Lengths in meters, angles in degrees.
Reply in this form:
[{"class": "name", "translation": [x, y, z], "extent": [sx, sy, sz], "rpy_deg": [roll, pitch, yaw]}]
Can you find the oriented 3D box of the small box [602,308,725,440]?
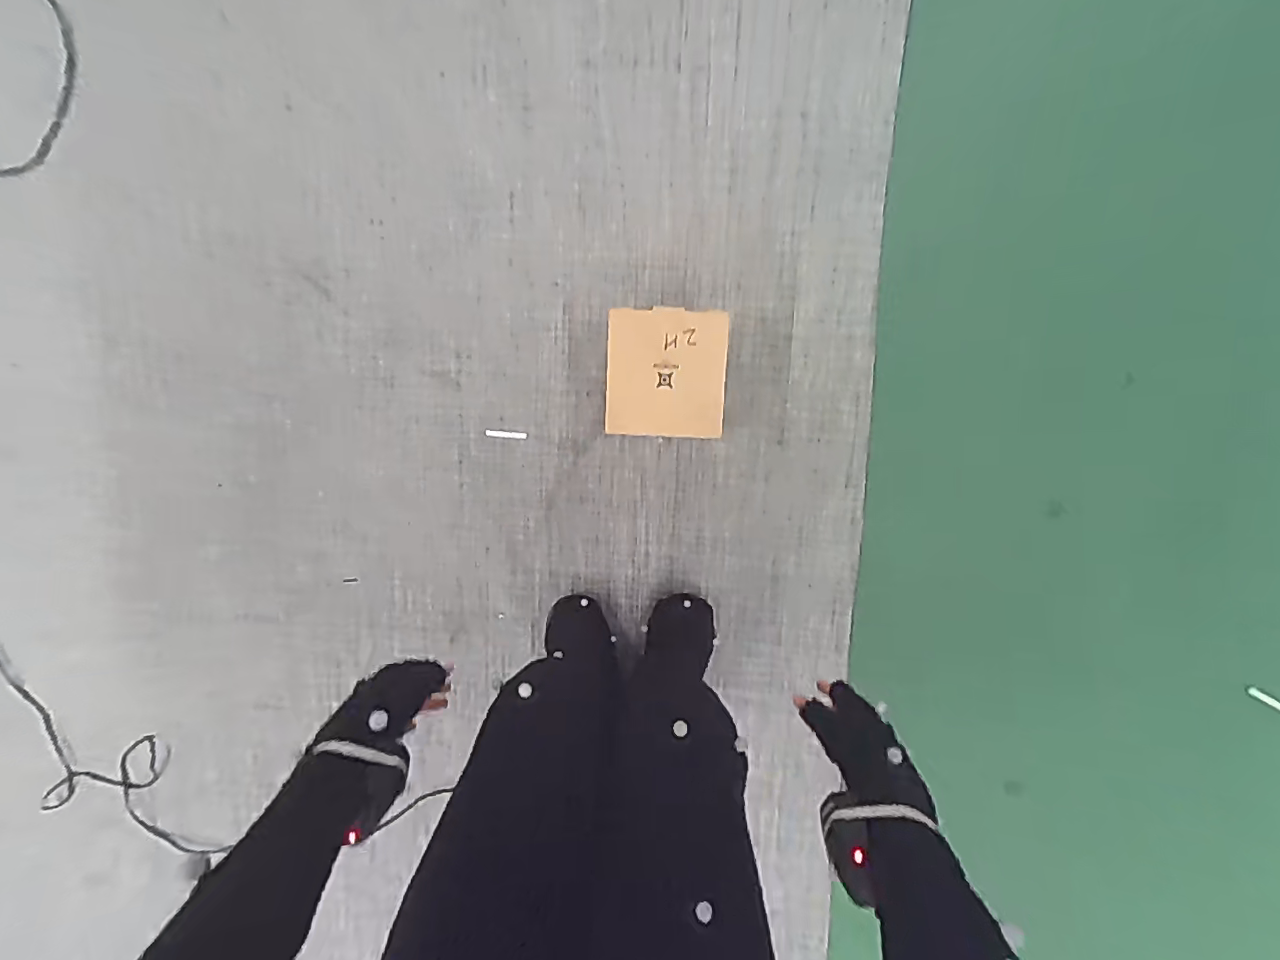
[{"class": "small box", "translation": [0.036, -0.157, 0.828], "extent": [0.168, 0.176, 0.179], "rpy_deg": [3, 97, 3]}]
